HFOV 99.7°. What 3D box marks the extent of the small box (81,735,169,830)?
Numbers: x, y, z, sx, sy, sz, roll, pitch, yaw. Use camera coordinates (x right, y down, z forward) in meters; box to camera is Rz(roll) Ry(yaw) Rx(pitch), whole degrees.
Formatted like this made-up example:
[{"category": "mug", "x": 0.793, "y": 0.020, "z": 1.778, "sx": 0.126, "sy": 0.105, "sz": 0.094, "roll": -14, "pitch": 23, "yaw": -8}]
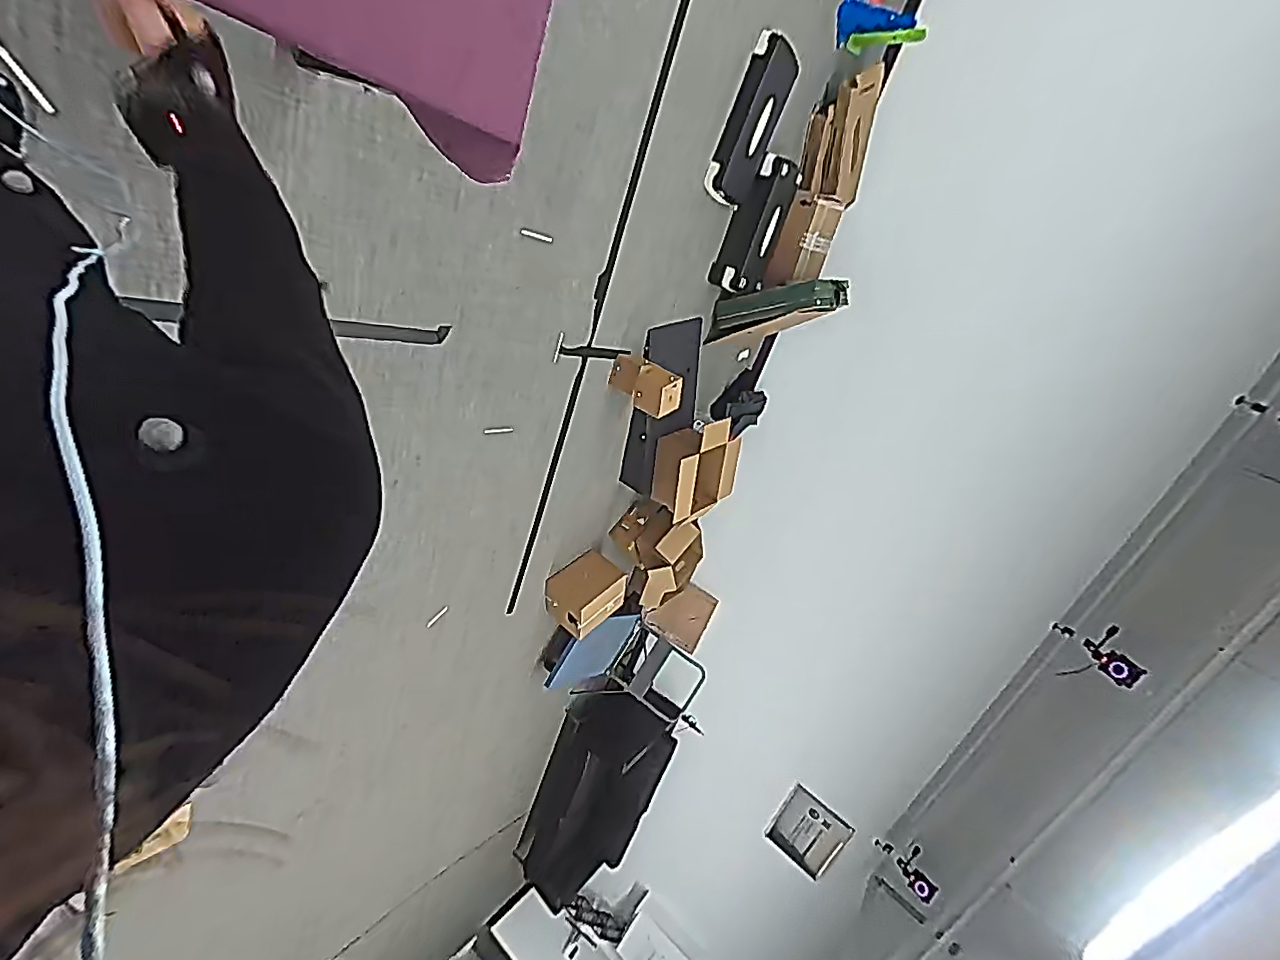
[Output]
[{"category": "small box", "x": -1.622, "y": 0.939, "z": 1.703, "sx": 0.168, "sy": 0.176, "sz": 0.179, "roll": -13, "pitch": 131, "yaw": -55}]
